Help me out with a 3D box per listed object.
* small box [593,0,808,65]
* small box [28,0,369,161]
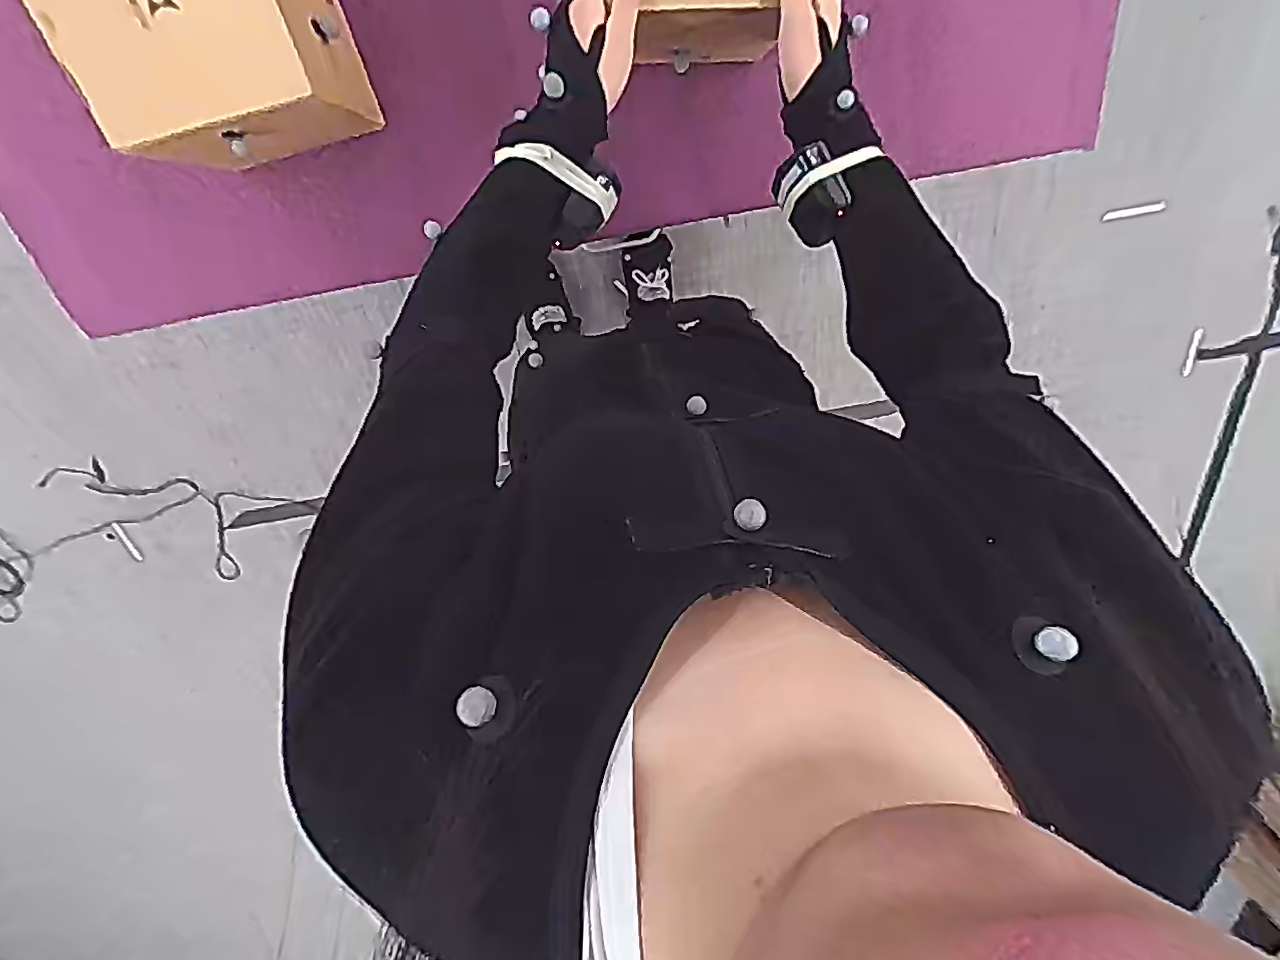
[{"bbox_3d":[0.041,-0.474,0.449,0.168,0.176,0.179,-3,117,-3],"label":"small box"},{"bbox_3d":[-0.365,-0.393,0.468,0.179,0.176,0.168,-14,117,3],"label":"small box"}]
